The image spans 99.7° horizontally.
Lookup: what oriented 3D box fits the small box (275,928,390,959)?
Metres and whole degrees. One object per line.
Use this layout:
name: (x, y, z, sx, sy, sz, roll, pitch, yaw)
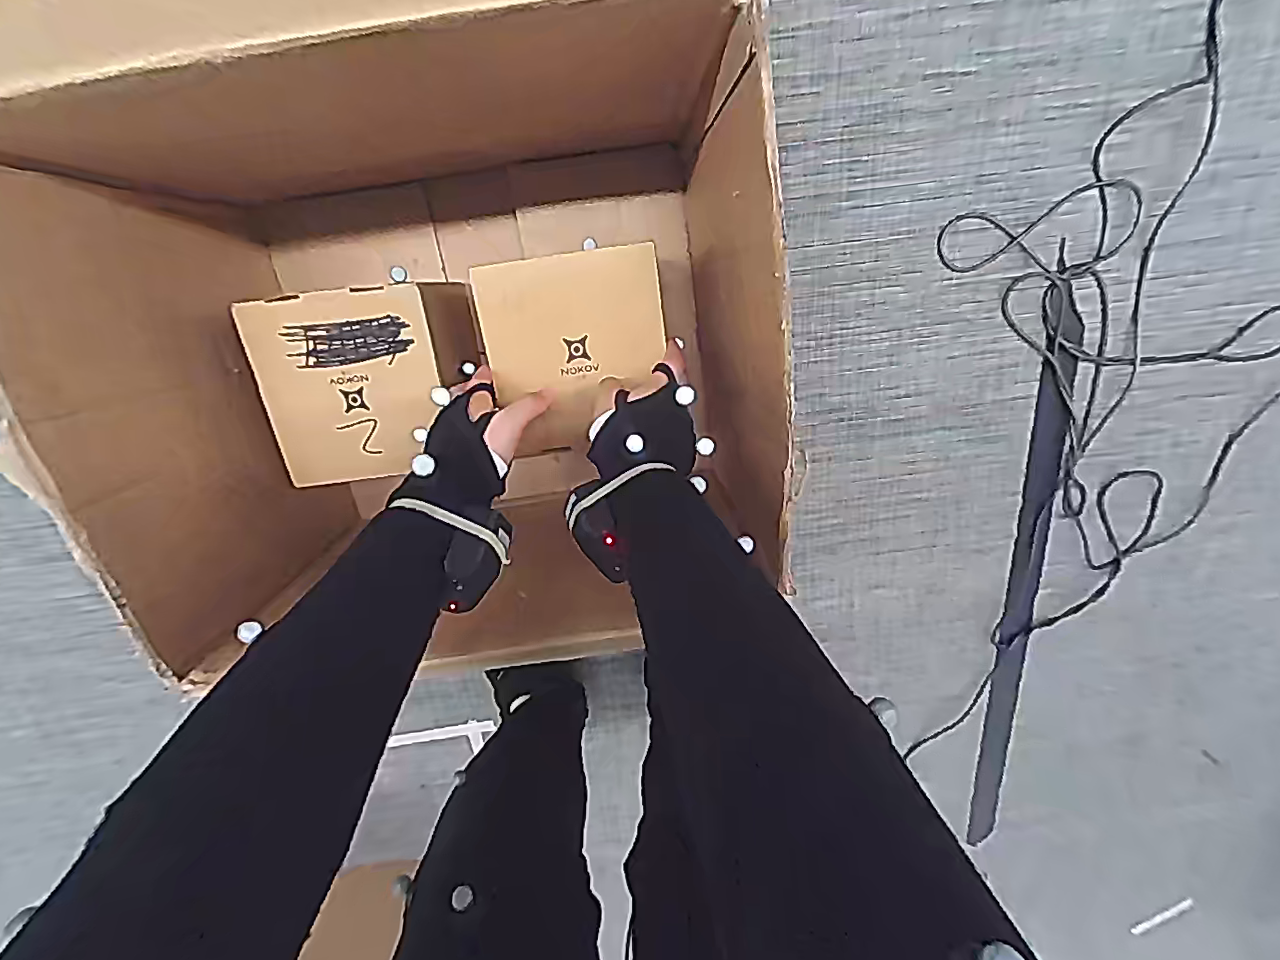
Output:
small box: (-0.513, 0.867, 0.873, 0.179, 0.176, 0.168, -4, 110, -4)
